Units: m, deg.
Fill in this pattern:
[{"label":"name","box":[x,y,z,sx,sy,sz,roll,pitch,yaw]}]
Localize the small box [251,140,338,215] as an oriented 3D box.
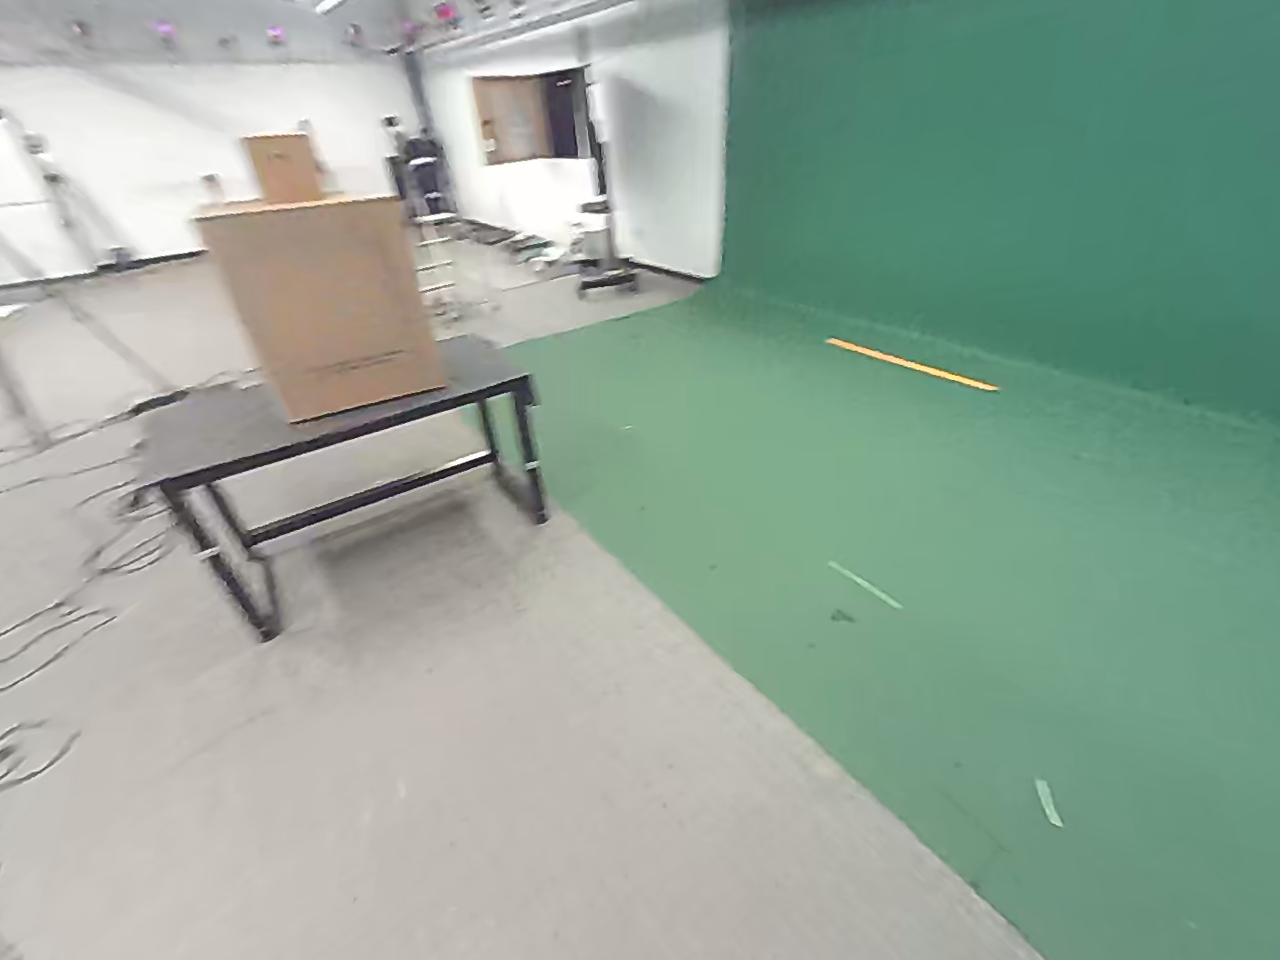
[{"label":"small box","box":[-1.010,-0.893,1.595,0.179,0.176,0.168,-19,39,-21]}]
